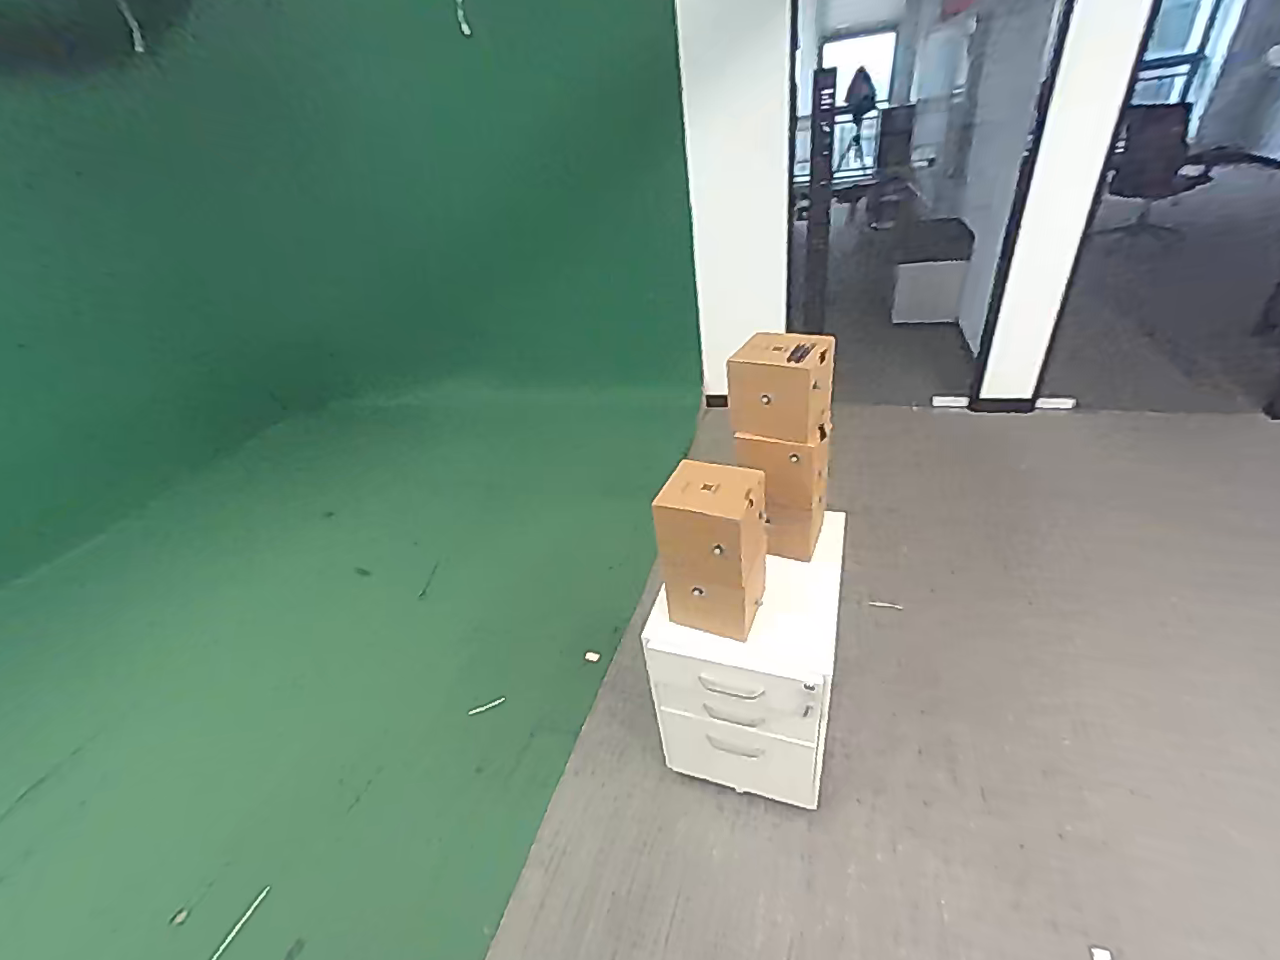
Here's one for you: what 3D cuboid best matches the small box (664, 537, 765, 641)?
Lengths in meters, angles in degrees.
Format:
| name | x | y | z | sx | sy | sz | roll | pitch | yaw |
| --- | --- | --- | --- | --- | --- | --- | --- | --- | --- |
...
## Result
| name | x | y | z | sx | sy | sz | roll | pitch | yaw |
| --- | --- | --- | --- | --- | --- | --- | --- | --- | --- |
| small box | 0.164 | 0.220 | 1.172 | 0.179 | 0.176 | 0.168 | 10 | 38 | 24 |

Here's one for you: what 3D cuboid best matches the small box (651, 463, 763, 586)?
| name | x | y | z | sx | sy | sz | roll | pitch | yaw |
| --- | --- | --- | --- | --- | --- | --- | --- | --- | --- |
| small box | 0.140 | 0.088 | 1.080 | 0.179 | 0.176 | 0.168 | 8 | 36 | 25 |

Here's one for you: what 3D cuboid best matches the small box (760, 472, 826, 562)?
| name | x | y | z | sx | sy | sz | roll | pitch | yaw |
| --- | --- | --- | --- | --- | --- | --- | --- | --- | --- |
| small box | 0.349 | 0.080 | 1.334 | 0.179 | 0.176 | 0.168 | 10 | 39 | 26 |

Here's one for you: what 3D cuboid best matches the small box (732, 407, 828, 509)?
| name | x | y | z | sx | sy | sz | roll | pitch | yaw |
| --- | --- | --- | --- | --- | --- | --- | --- | --- | --- |
| small box | 0.322 | -0.051 | 1.242 | 0.179 | 0.176 | 0.168 | 10 | 39 | 25 |
